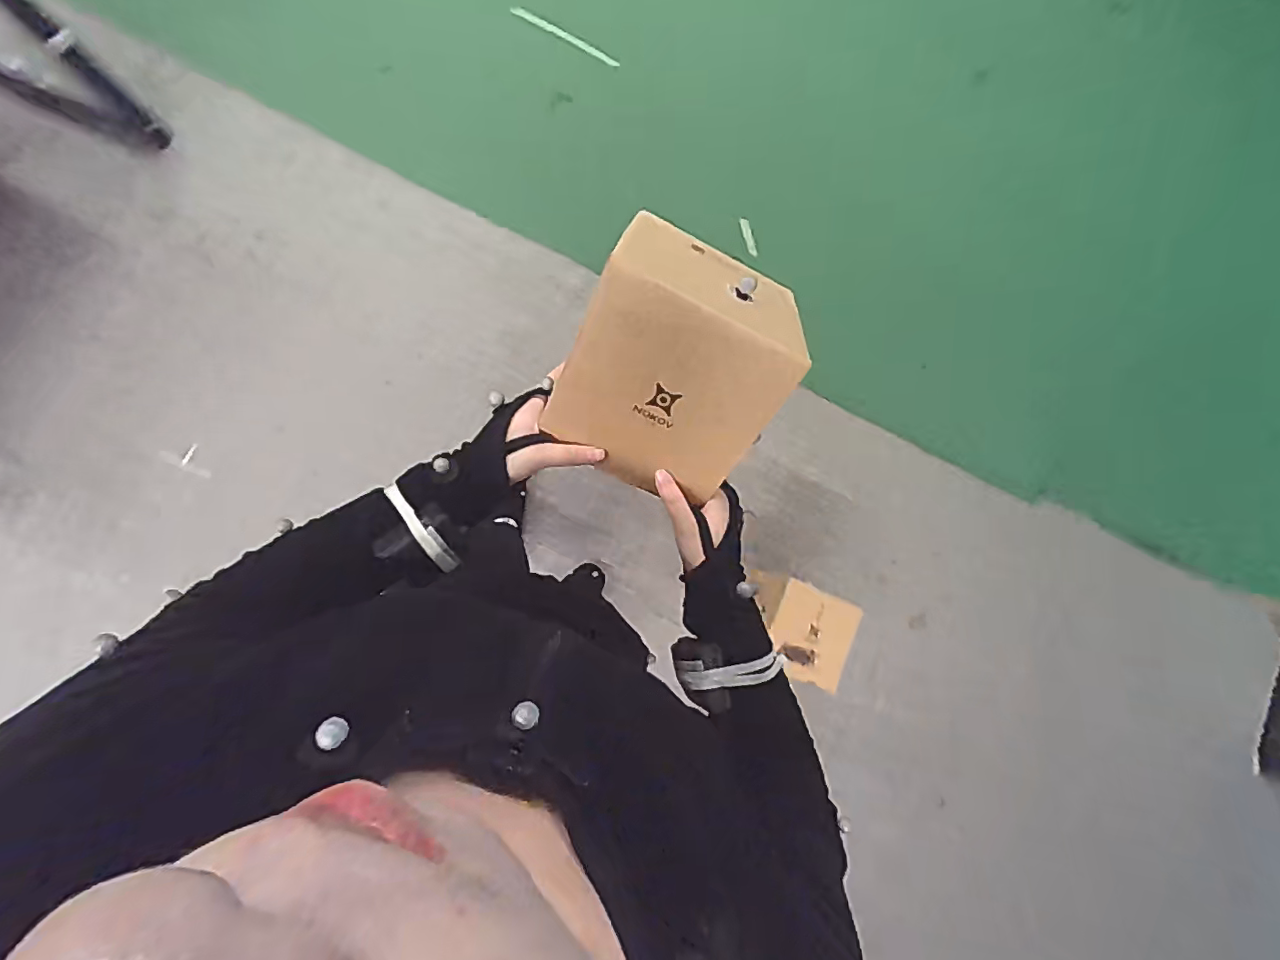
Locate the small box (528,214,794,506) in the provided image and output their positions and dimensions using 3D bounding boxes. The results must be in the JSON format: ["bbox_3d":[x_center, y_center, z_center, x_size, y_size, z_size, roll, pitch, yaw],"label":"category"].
[{"bbox_3d":[0.017,-0.115,0.501,0.168,0.179,0.176,24,39,-9],"label":"small box"}]

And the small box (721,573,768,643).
[{"bbox_3d":[0.317,0.328,1.295,0.179,0.176,0.168,24,82,-2],"label":"small box"}]

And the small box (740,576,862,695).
[{"bbox_3d":[0.325,0.314,1.131,0.168,0.176,0.179,26,81,-2],"label":"small box"}]
